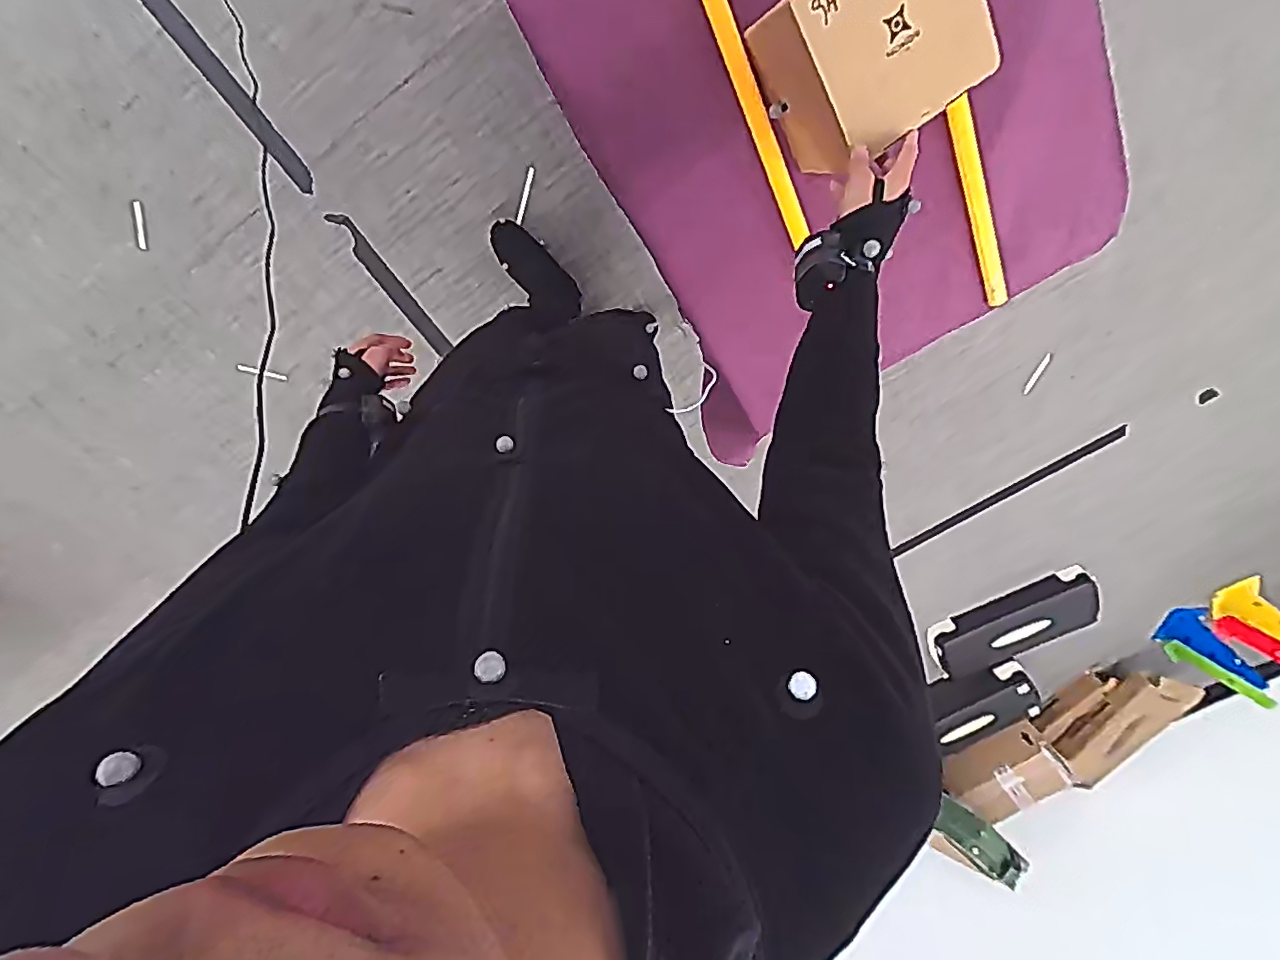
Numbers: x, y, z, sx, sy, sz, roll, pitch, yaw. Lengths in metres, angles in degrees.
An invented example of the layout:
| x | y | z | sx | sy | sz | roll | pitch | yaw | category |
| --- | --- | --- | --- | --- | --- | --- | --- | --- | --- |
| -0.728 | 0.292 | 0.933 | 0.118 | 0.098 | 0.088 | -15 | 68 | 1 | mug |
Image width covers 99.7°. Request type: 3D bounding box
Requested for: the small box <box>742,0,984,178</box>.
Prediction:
| x | y | z | sx | sy | sz | roll | pitch | yaw | category |
| --- | --- | --- | --- | --- | --- | --- | --- | --- | --- |
| 0.240 | -0.479 | 0.613 | 0.168 | 0.176 | 0.179 | -33 | 119 | 12 | small box |
